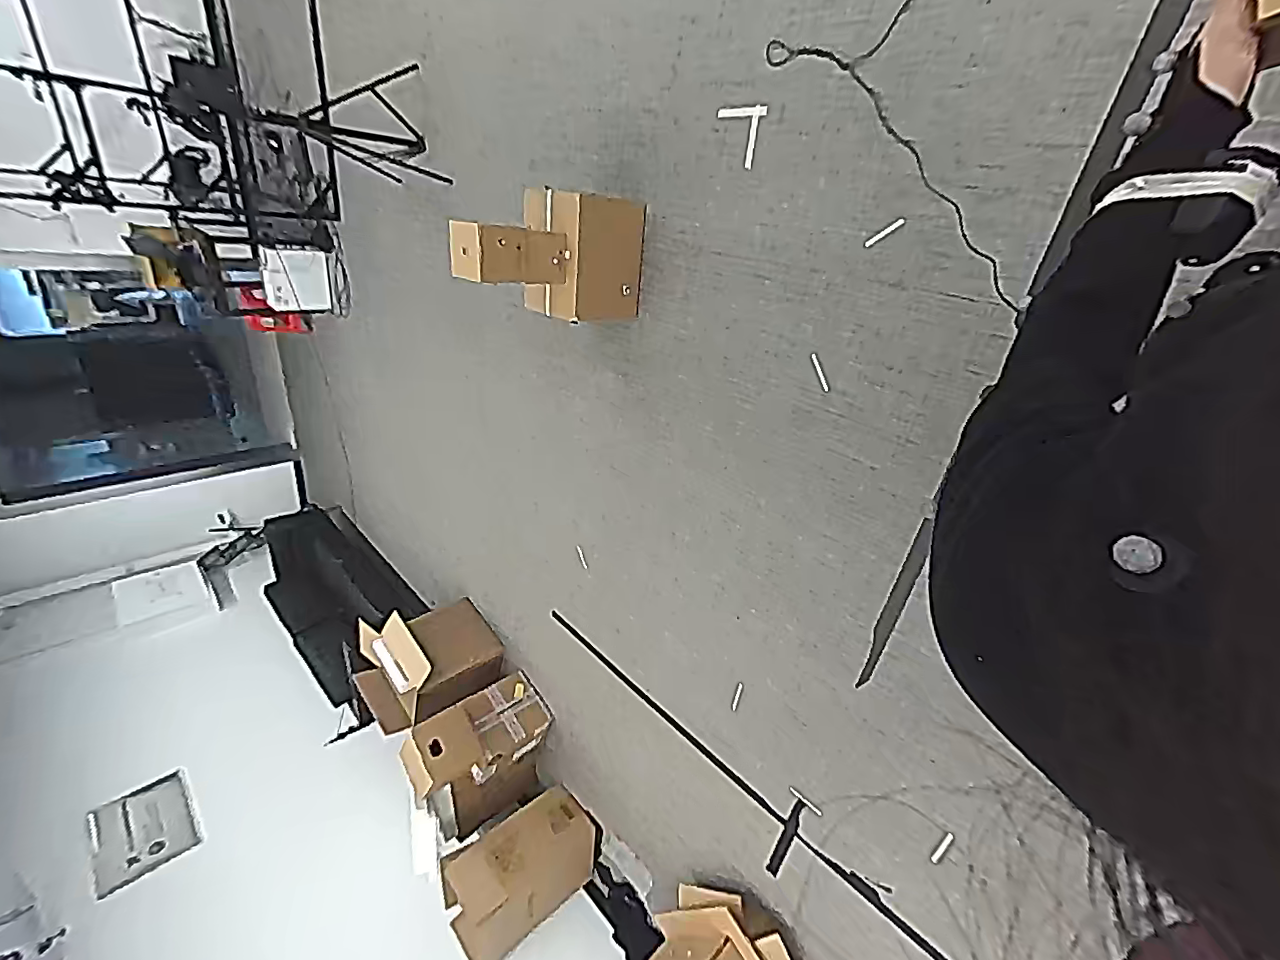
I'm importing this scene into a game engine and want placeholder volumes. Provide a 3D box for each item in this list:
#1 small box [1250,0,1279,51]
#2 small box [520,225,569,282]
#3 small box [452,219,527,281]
[{"bbox_3d":[0.474,-0.385,0.306,0.168,0.176,0.179,1,107,47],"label":"small box"},{"bbox_3d":[-0.360,-0.763,1.817,0.179,0.176,0.168,26,123,37],"label":"small box"},{"bbox_3d":[-0.469,-0.724,1.702,0.179,0.176,0.168,26,121,39],"label":"small box"}]
